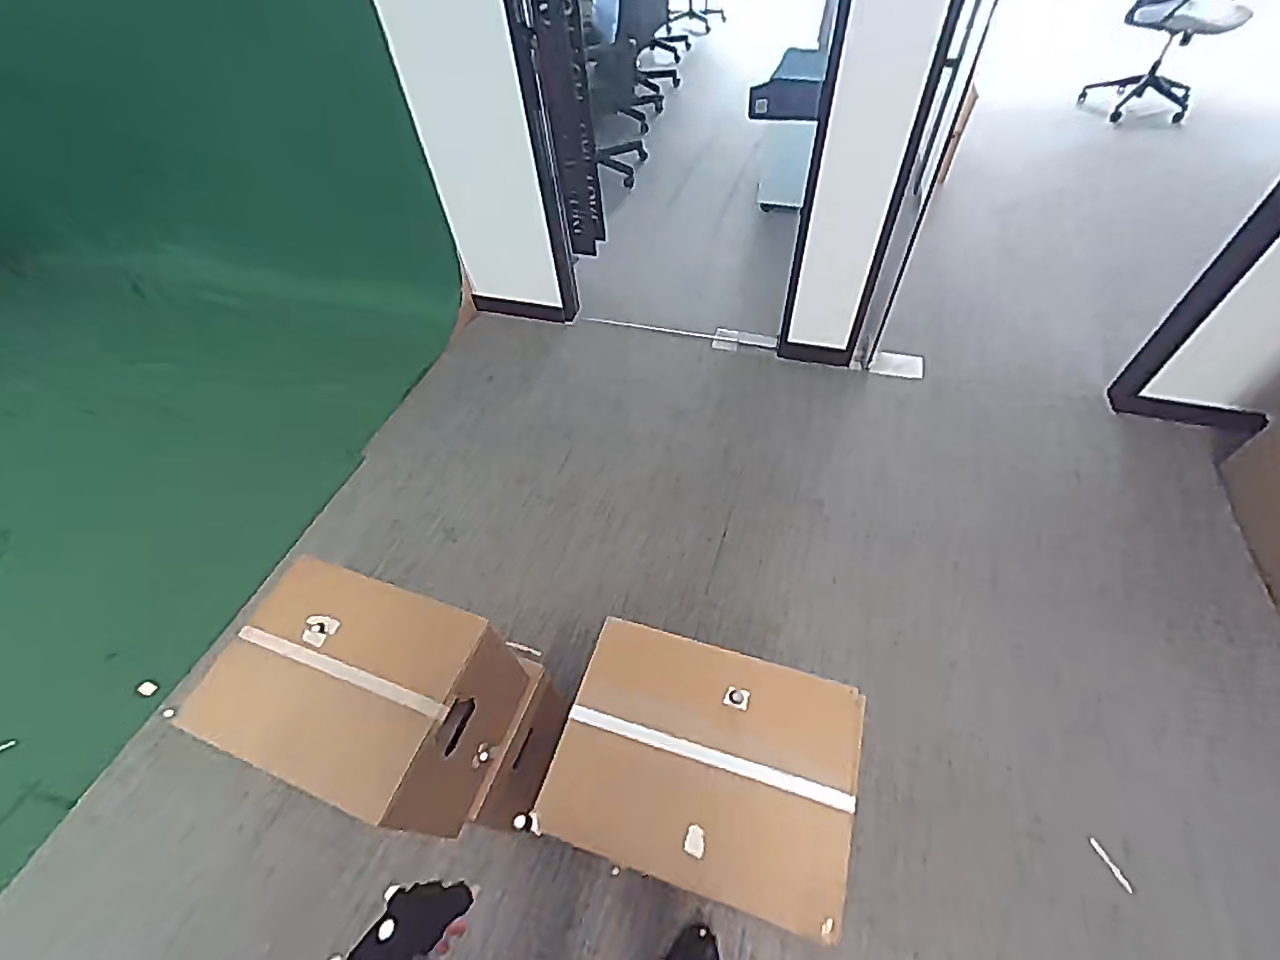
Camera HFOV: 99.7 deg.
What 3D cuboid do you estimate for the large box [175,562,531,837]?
[{"bbox_3d":[-0.470,0.398,0.980,0.408,0.320,0.320,14,56,17],"label":"large box"}]
